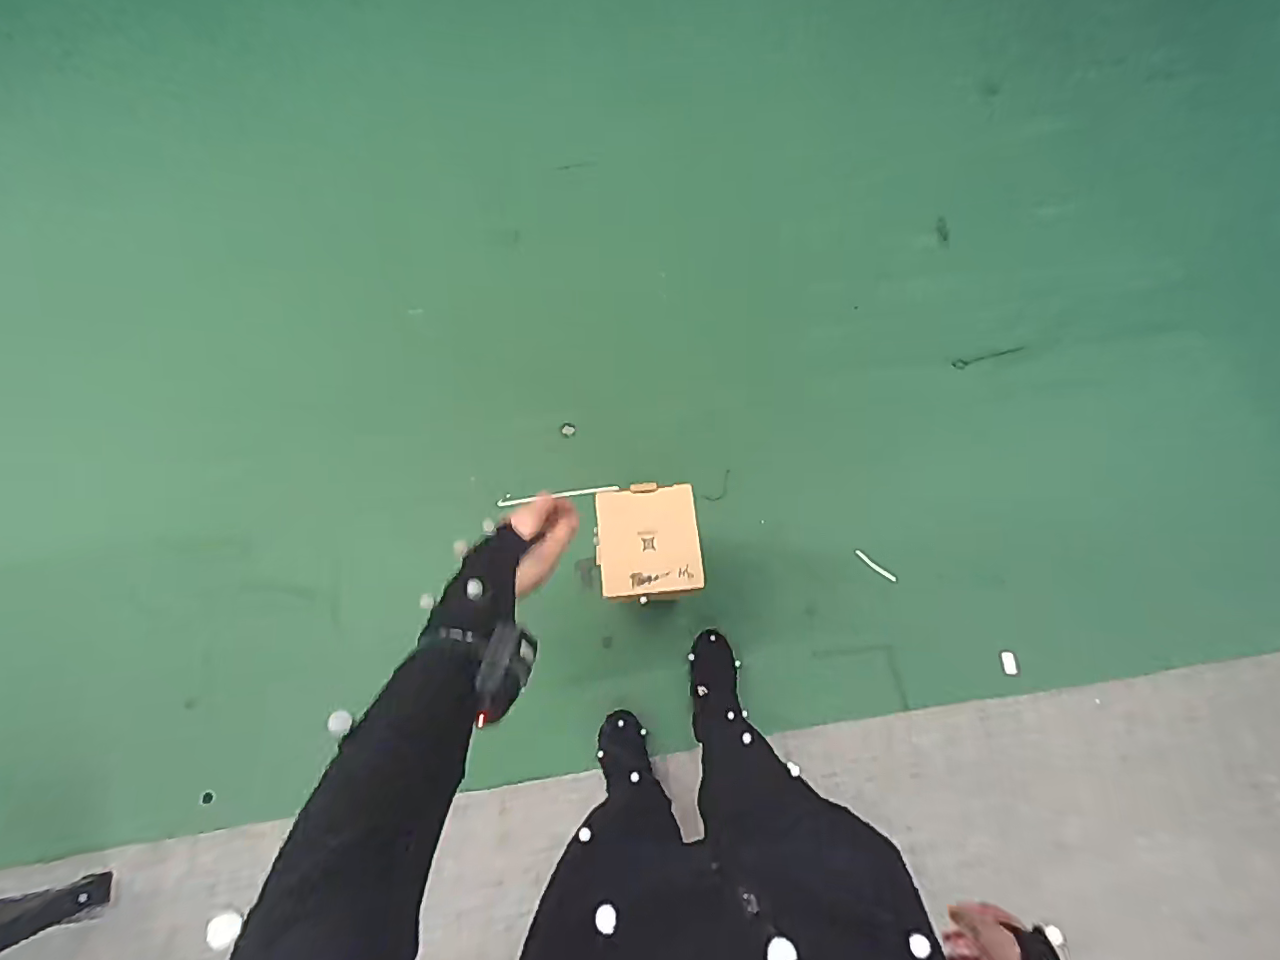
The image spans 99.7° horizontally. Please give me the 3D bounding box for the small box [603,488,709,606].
[{"bbox_3d":[0.021,0.124,0.959,0.168,0.176,0.179,-5,74,-3],"label":"small box"}]
